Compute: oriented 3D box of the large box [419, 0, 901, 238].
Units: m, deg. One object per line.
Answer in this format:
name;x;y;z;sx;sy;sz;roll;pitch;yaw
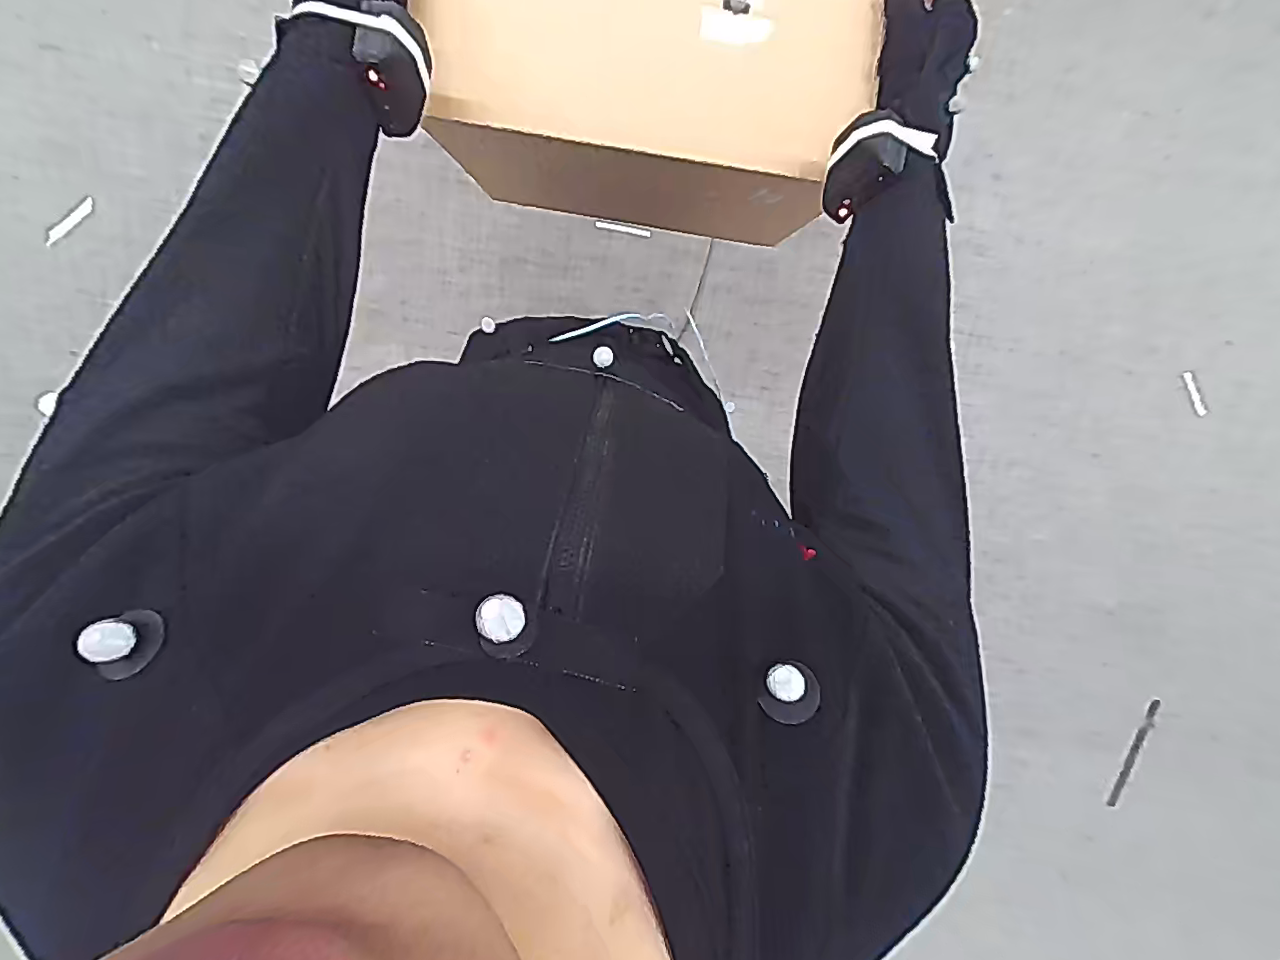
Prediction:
large box;0.021;-0.477;0.581;0.408;0.320;0.320;8;105;-3
